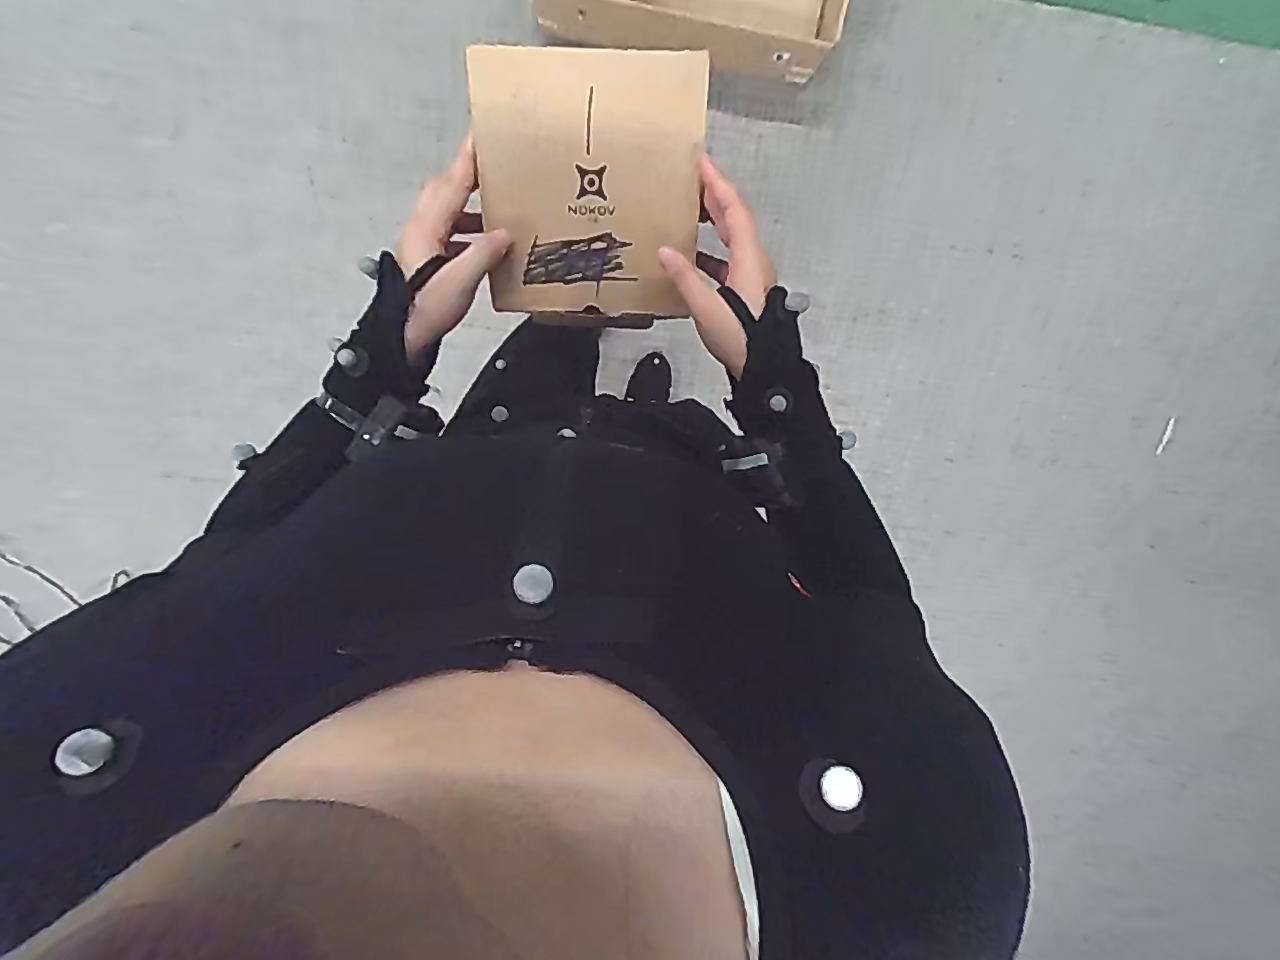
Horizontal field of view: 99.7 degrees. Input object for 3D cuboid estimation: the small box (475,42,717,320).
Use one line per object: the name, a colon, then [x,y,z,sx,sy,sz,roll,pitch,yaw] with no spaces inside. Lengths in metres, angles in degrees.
small box: [-0.032,-0.250,0.470,0.168,0.176,0.179,2,119,-1]

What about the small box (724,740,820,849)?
small box: [0.315,0.767,1.329,0.179,0.176,0.168,5,107,-3]
